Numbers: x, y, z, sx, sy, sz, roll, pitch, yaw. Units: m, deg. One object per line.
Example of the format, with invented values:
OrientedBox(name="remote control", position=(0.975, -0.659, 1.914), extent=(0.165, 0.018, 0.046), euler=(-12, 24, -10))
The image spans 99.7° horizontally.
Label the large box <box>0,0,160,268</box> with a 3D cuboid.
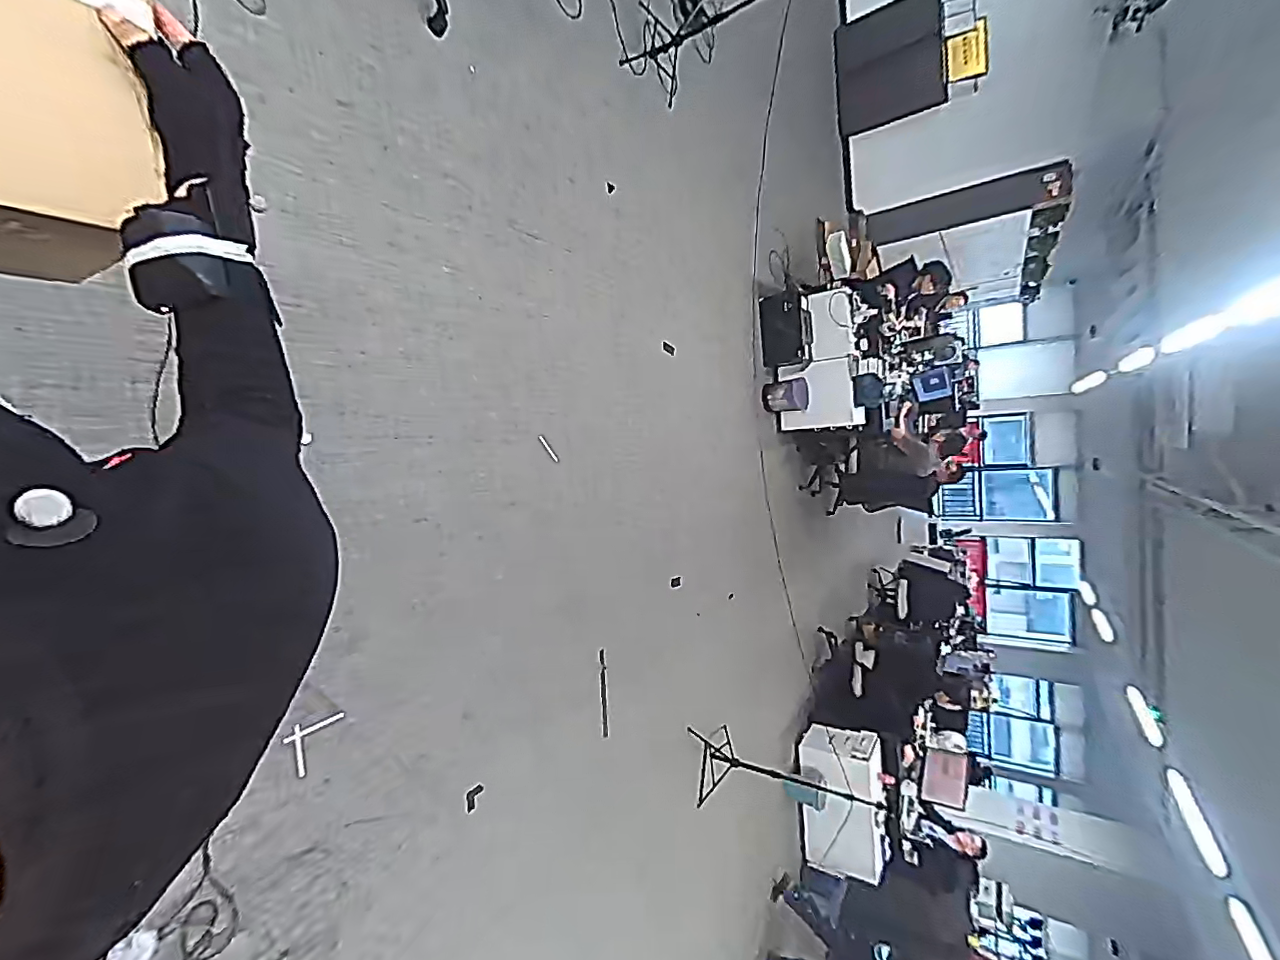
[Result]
OrientedBox(name="large box", position=(-0.615, -0.347, 0.331), extent=(0.408, 0.320, 0.320), euler=(-9, 104, -56))
